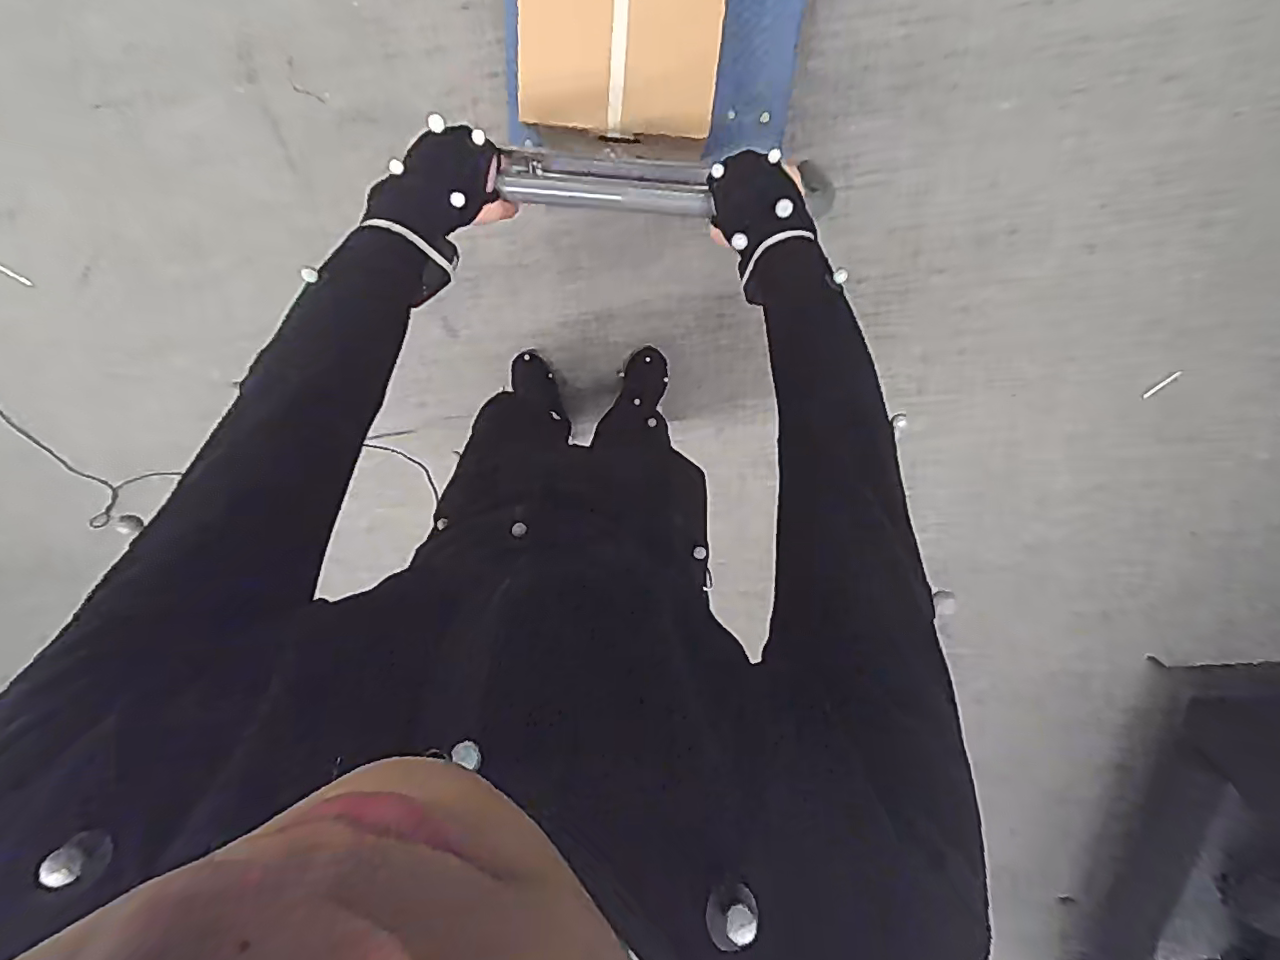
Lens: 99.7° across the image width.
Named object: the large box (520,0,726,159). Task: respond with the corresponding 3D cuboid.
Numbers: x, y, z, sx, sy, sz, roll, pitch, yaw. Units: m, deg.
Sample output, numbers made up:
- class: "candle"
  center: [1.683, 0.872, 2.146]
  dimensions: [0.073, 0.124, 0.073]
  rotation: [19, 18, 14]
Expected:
- class: "large box"
  center: [-0.016, -0.813, 0.935]
  dimensions: [0.320, 0.320, 0.408]
  rotation: [5, 114, 0]
